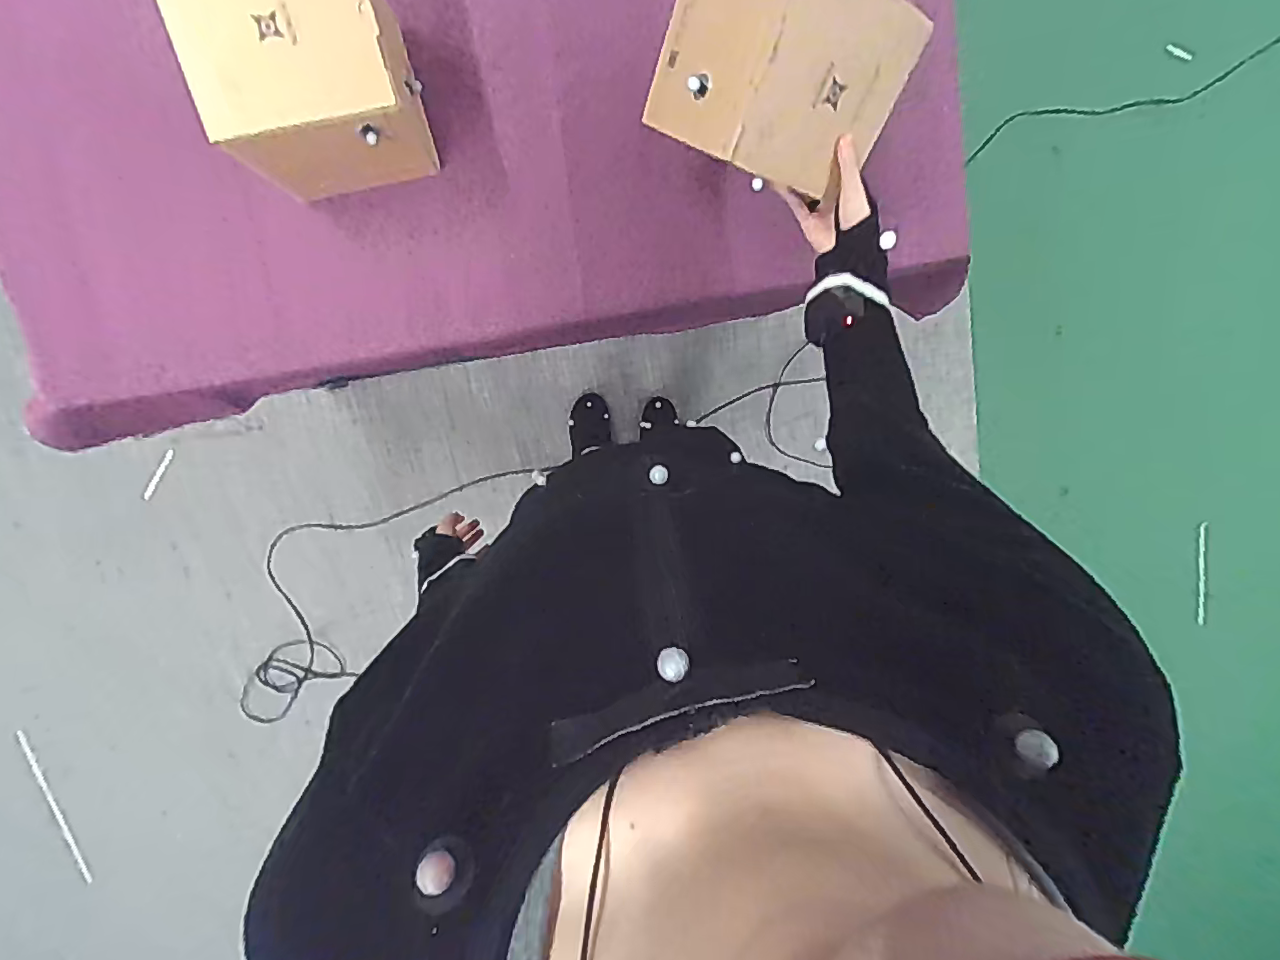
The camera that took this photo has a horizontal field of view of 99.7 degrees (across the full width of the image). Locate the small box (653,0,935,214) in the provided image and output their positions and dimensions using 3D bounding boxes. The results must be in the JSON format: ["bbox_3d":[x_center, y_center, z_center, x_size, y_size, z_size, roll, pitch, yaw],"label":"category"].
[{"bbox_3d":[0.141,-0.400,0.545,0.179,0.176,0.168,-5,134,-37],"label":"small box"}]

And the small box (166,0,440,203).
[{"bbox_3d":[-0.337,-0.417,0.572,0.179,0.176,0.168,-16,101,-5],"label":"small box"}]
